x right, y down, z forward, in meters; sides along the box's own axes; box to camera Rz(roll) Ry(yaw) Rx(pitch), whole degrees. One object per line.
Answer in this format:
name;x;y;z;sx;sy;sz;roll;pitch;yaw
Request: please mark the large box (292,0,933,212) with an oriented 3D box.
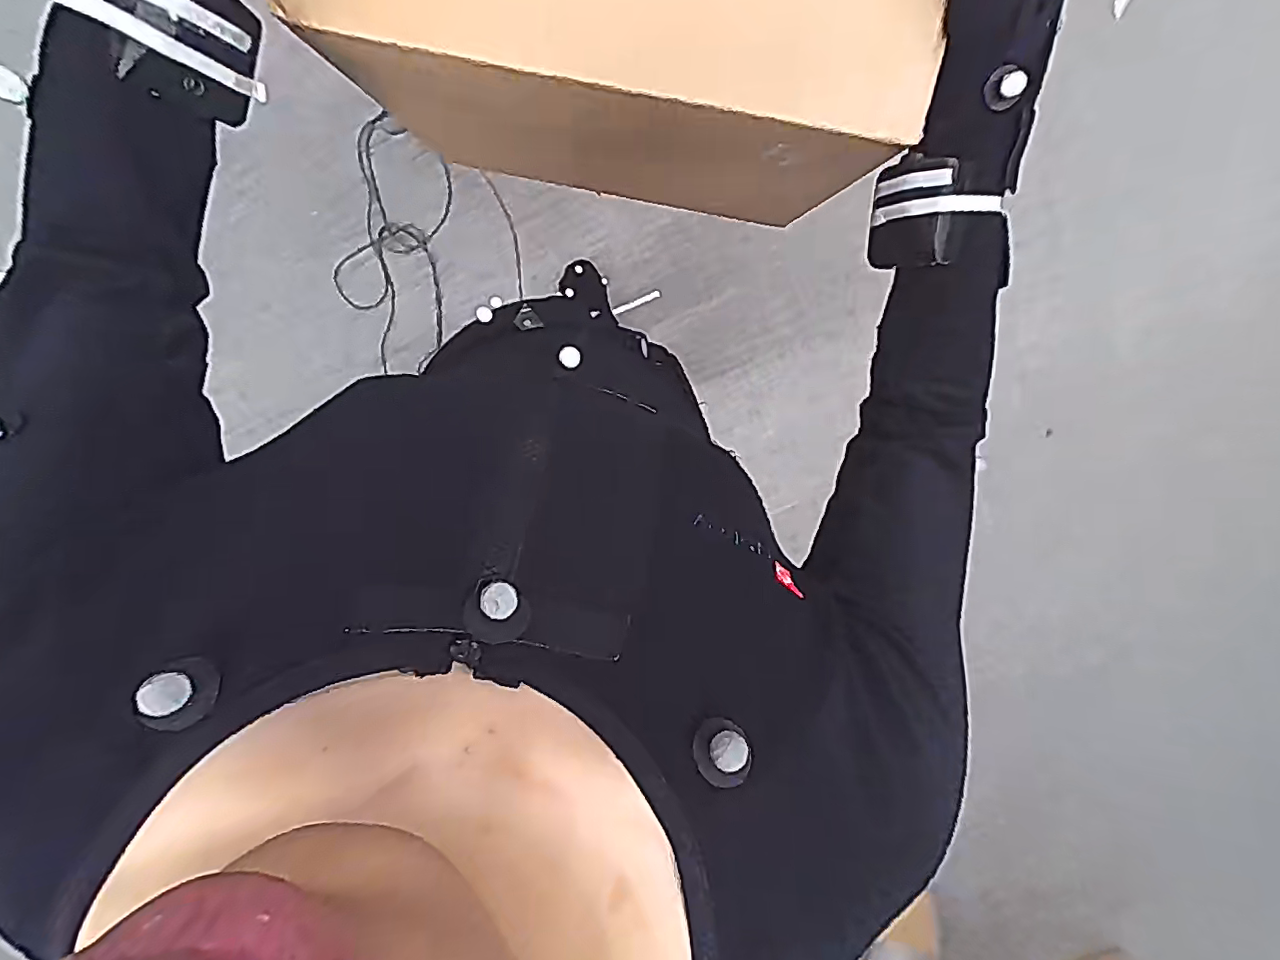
large box;-0.004;-0.445;0.448;0.408;0.320;0.320;8;106;-4
